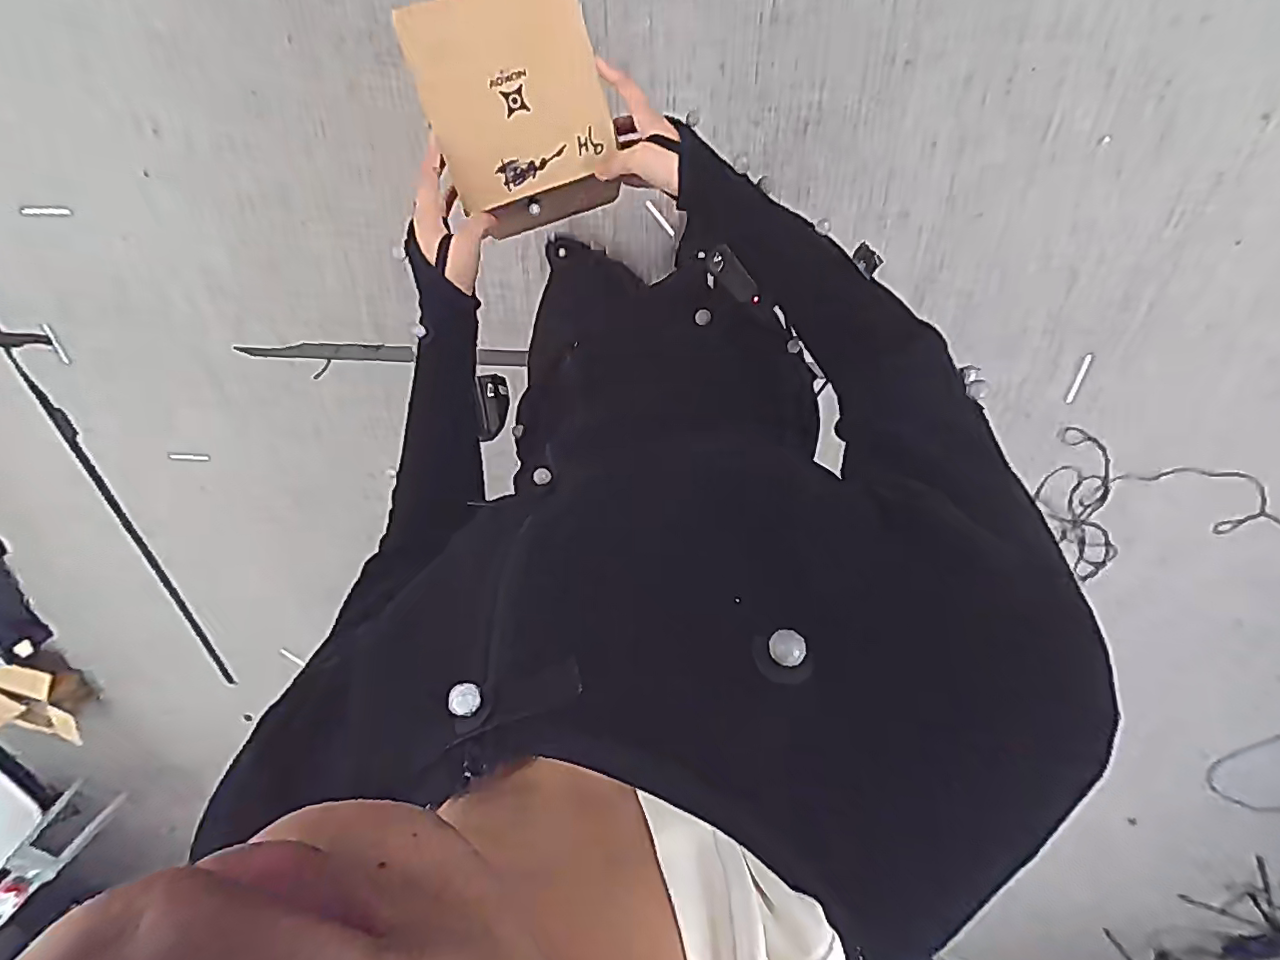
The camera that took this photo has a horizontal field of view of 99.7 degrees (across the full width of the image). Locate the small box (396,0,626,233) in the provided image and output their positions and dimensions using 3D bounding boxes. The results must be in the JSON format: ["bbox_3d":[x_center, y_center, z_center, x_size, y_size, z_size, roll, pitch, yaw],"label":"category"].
[{"bbox_3d":[-0.121,-0.386,0.572,0.168,0.176,0.179,-17,106,1],"label":"small box"}]
